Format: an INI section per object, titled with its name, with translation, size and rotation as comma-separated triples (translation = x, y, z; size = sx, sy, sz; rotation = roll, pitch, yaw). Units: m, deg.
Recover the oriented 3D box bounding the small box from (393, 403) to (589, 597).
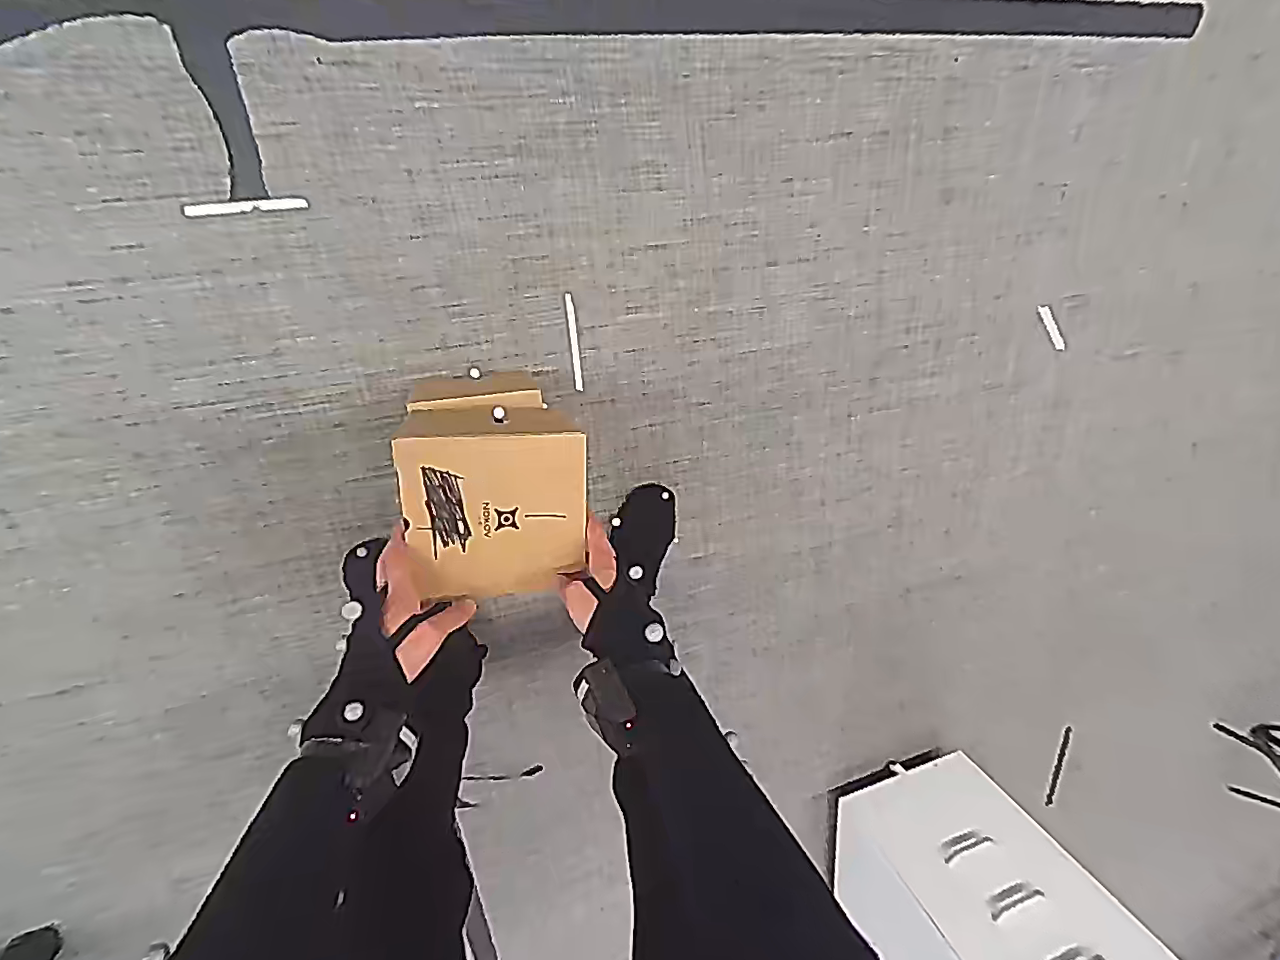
[small box]
translation = -0.158, 0.010, 0.587
size = 0.179, 0.176, 0.168
rotation = -3, 107, -17
